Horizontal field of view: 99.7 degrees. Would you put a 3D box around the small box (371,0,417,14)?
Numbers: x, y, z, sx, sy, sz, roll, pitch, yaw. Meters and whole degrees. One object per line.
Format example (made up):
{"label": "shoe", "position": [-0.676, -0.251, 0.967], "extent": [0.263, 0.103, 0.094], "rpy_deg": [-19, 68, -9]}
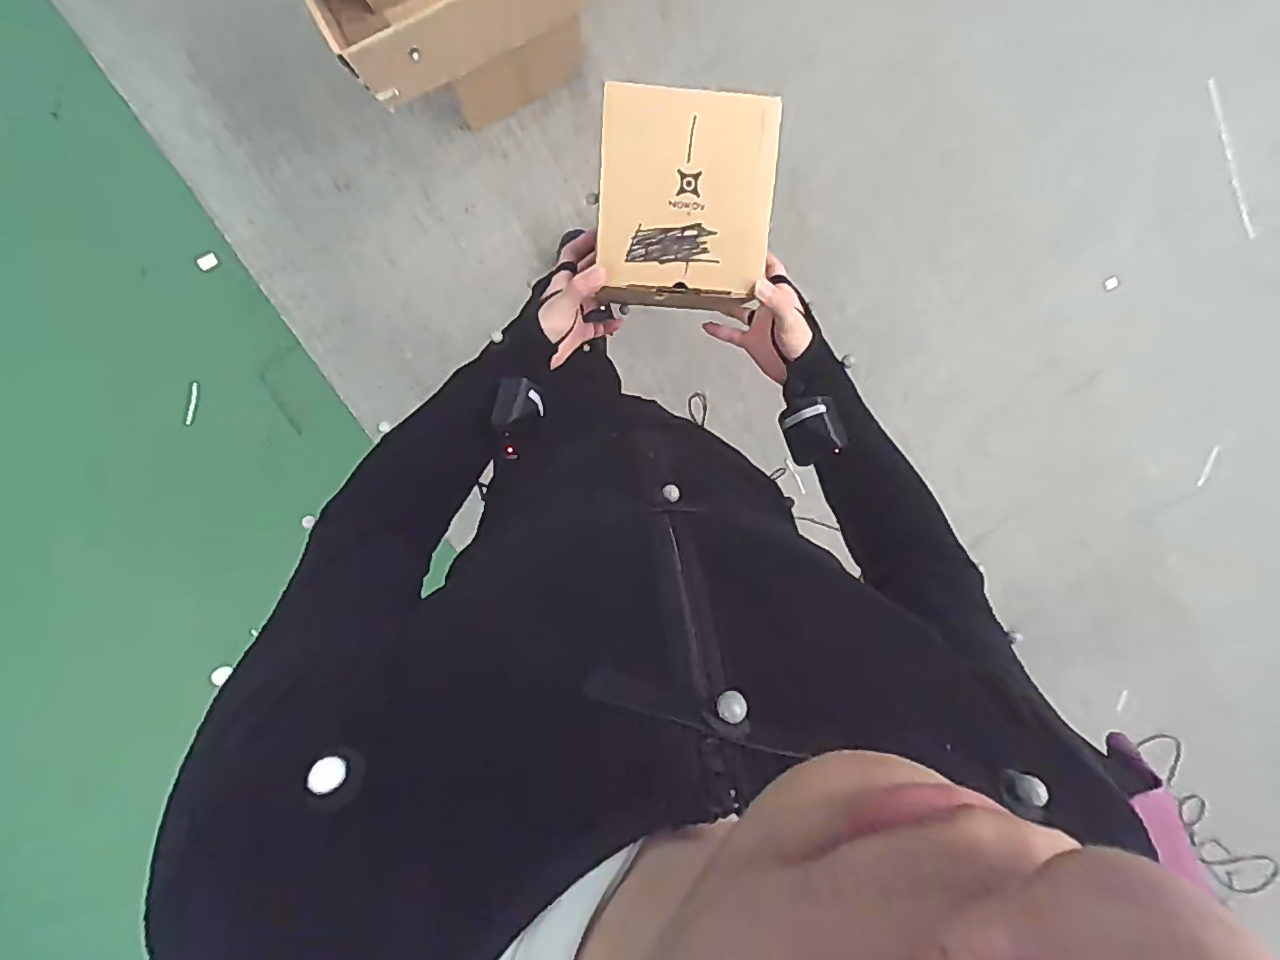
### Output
{"label": "small box", "position": [-0.413, -0.905, 0.851], "extent": [0.168, 0.176, 0.179], "rpy_deg": [-23, 104, 2]}

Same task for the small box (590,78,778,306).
{"label": "small box", "position": [0.036, -0.289, 0.585], "extent": [0.168, 0.176, 0.179], "rpy_deg": [3, 102, -3]}
